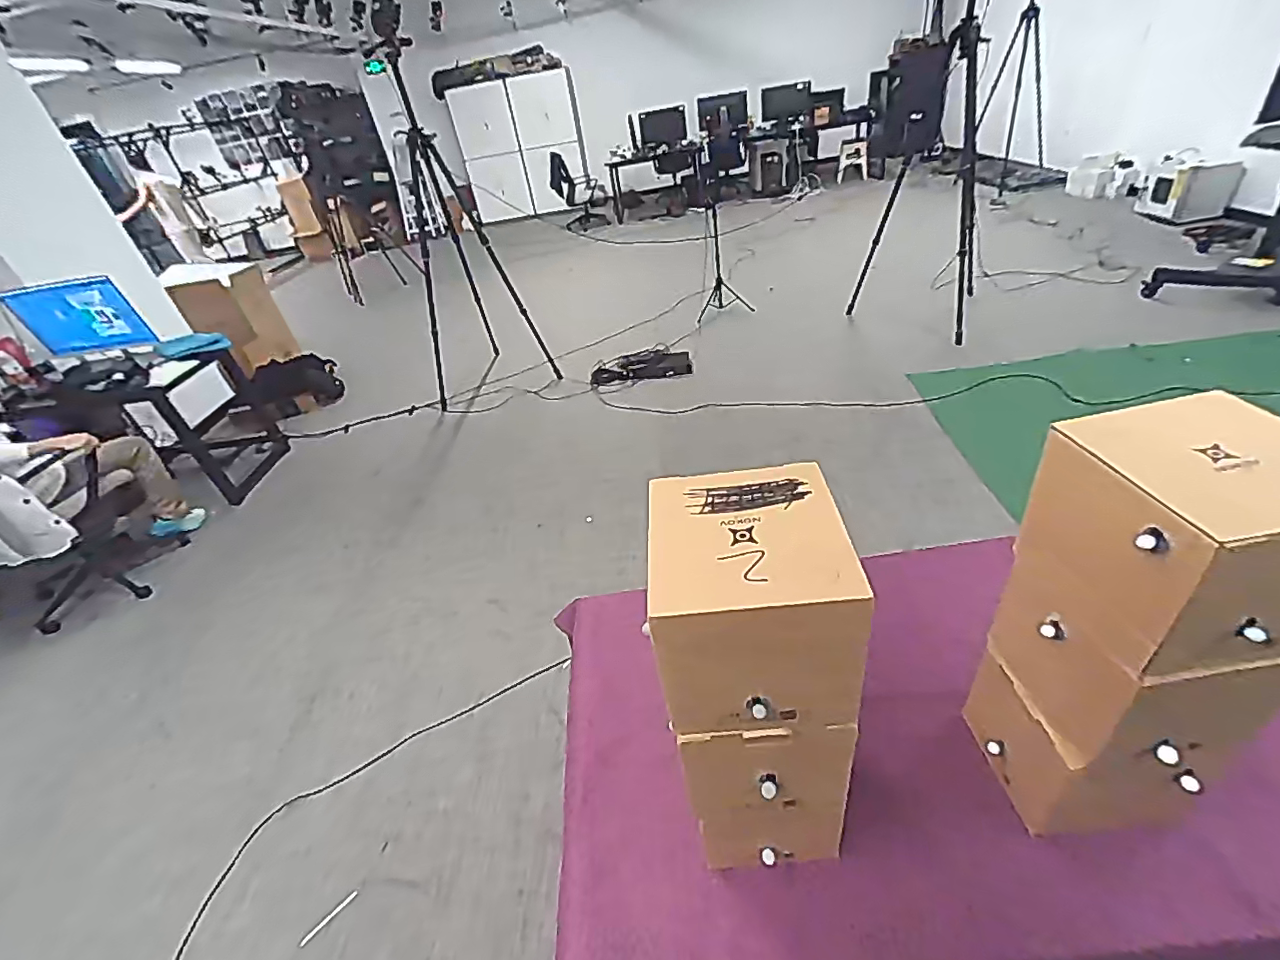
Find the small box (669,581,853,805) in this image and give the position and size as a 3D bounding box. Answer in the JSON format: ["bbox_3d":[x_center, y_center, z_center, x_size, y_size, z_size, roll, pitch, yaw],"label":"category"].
[{"bbox_3d":[0.127,0.242,0.608,0.168,0.176,0.179,-8,37,5],"label":"small box"}]

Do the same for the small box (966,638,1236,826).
[{"bbox_3d":[0.550,0.307,0.681,0.179,0.176,0.168,-9,35,3],"label":"small box"}]

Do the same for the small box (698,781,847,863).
[{"bbox_3d":[0.157,0.367,0.710,0.168,0.176,0.179,-8,37,5],"label":"small box"}]

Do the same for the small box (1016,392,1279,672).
[{"bbox_3d":[0.492,0.044,0.497,0.168,0.176,0.179,-12,37,1],"label":"small box"}]

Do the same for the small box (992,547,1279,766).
[{"bbox_3d":[0.523,0.176,0.587,0.168,0.176,0.179,-10,37,3],"label":"small box"}]
